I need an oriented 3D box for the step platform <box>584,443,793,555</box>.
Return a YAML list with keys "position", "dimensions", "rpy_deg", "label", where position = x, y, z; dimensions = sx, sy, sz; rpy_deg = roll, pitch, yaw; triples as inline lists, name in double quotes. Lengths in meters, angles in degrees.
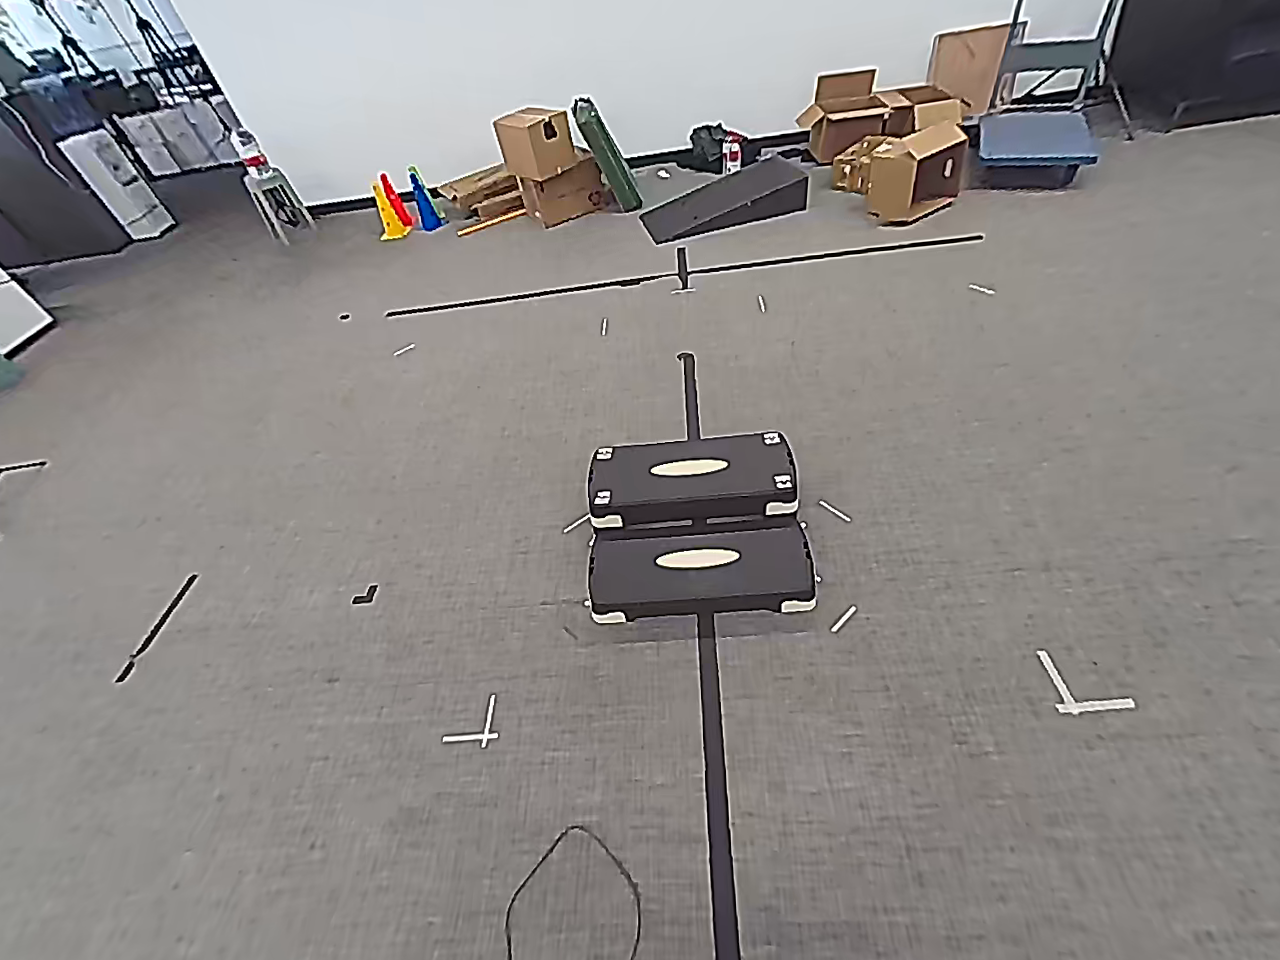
- position: [0.155, 0.059, 1.802]
  dimensions: [0.684, 0.204, 0.286]
  rpy_deg: [-5, 47, 5]
  label: "step platform"
